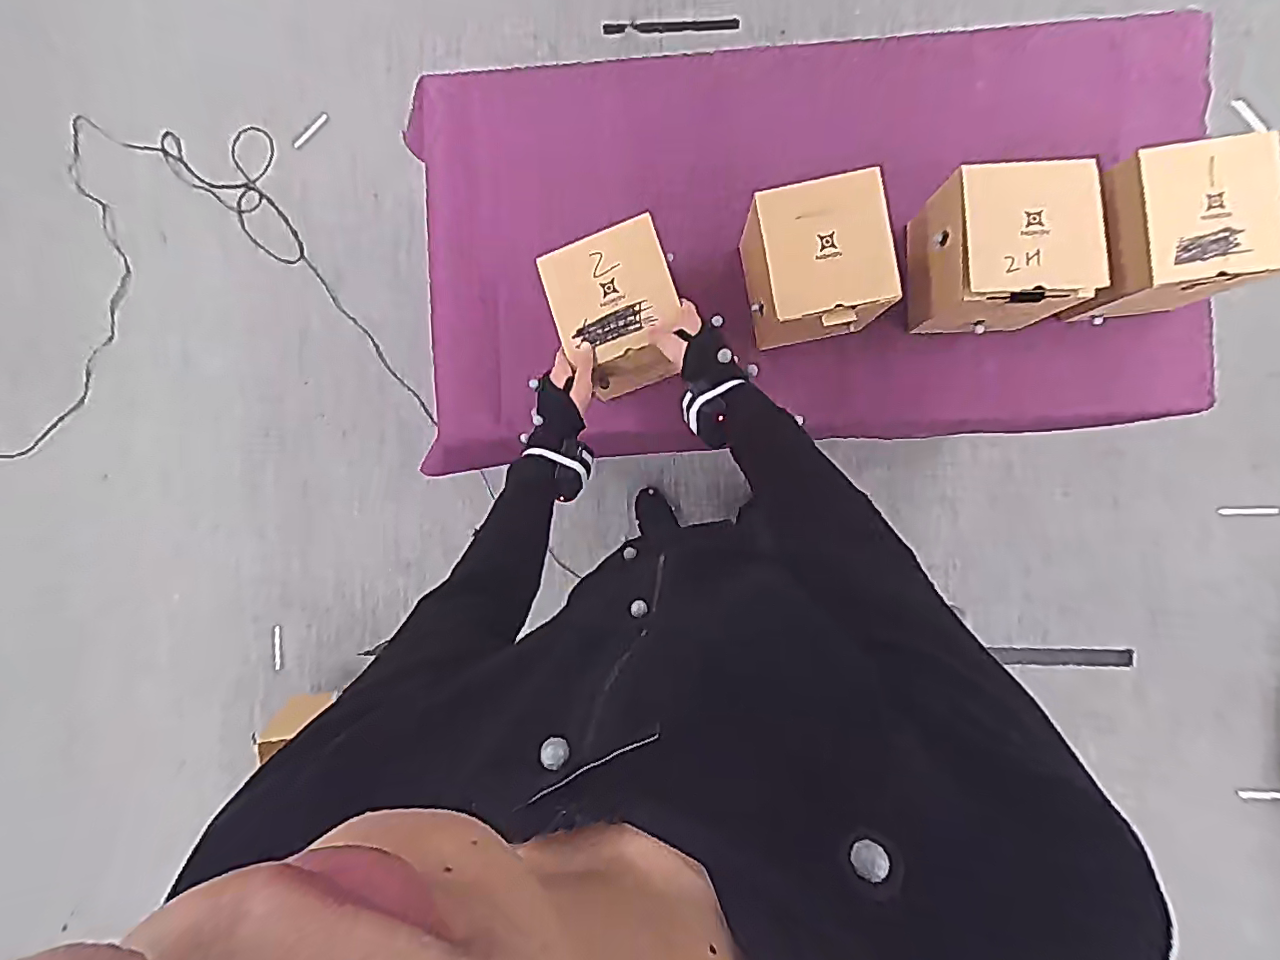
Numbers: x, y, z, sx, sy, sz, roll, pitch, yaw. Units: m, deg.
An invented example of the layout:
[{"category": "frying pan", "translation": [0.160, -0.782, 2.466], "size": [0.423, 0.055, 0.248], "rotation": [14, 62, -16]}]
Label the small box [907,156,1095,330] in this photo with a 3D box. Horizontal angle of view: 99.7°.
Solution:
[{"category": "small box", "translation": [0.495, -0.323, 0.766], "size": [0.168, 0.176, 0.179], "rotation": [-1, 91, 4]}]

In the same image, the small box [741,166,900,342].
[{"category": "small box", "translation": [0.250, -0.309, 0.784], "size": [0.168, 0.176, 0.179], "rotation": [-10, 90, 3]}]

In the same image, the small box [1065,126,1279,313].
[{"category": "small box", "translation": [0.714, -0.343, 0.751], "size": [0.168, 0.176, 0.179], "rotation": [-7, 89, 4]}]
